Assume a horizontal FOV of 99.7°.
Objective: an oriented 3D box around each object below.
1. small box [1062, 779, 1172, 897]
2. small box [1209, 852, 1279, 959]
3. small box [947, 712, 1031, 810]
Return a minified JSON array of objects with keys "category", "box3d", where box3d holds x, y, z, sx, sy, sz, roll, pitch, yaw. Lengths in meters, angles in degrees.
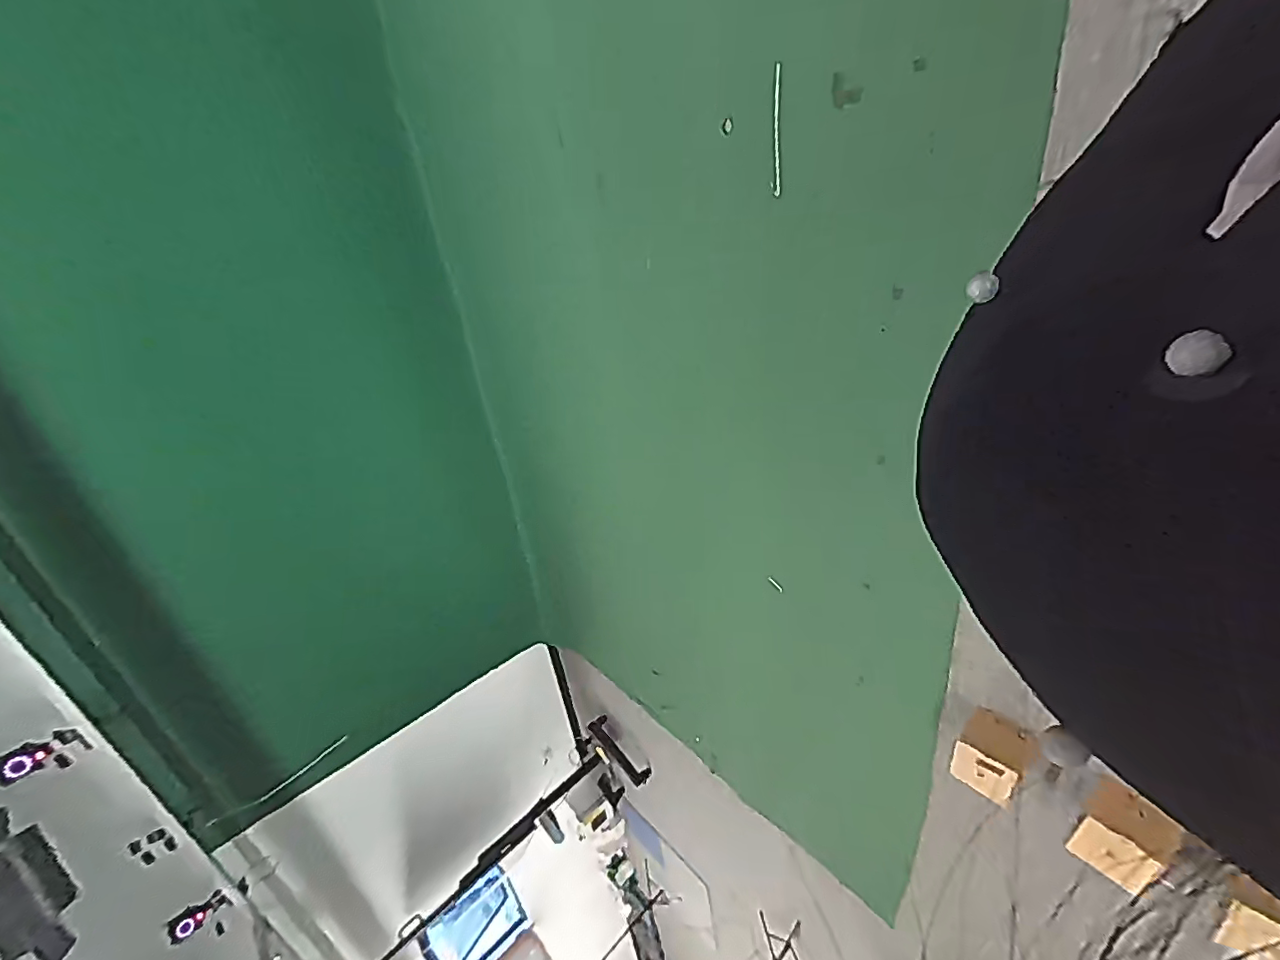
[{"category":"small box","box3d":[1.311,0.977,1.485,0.168,0.176,0.179,29,133,41]},{"category":"small box","box3d":[1.497,1.044,1.279,0.168,0.176,0.179,18,124,45]},{"category":"small box","box3d":[1.099,0.873,1.700,0.168,0.176,0.179,24,131,44]}]
